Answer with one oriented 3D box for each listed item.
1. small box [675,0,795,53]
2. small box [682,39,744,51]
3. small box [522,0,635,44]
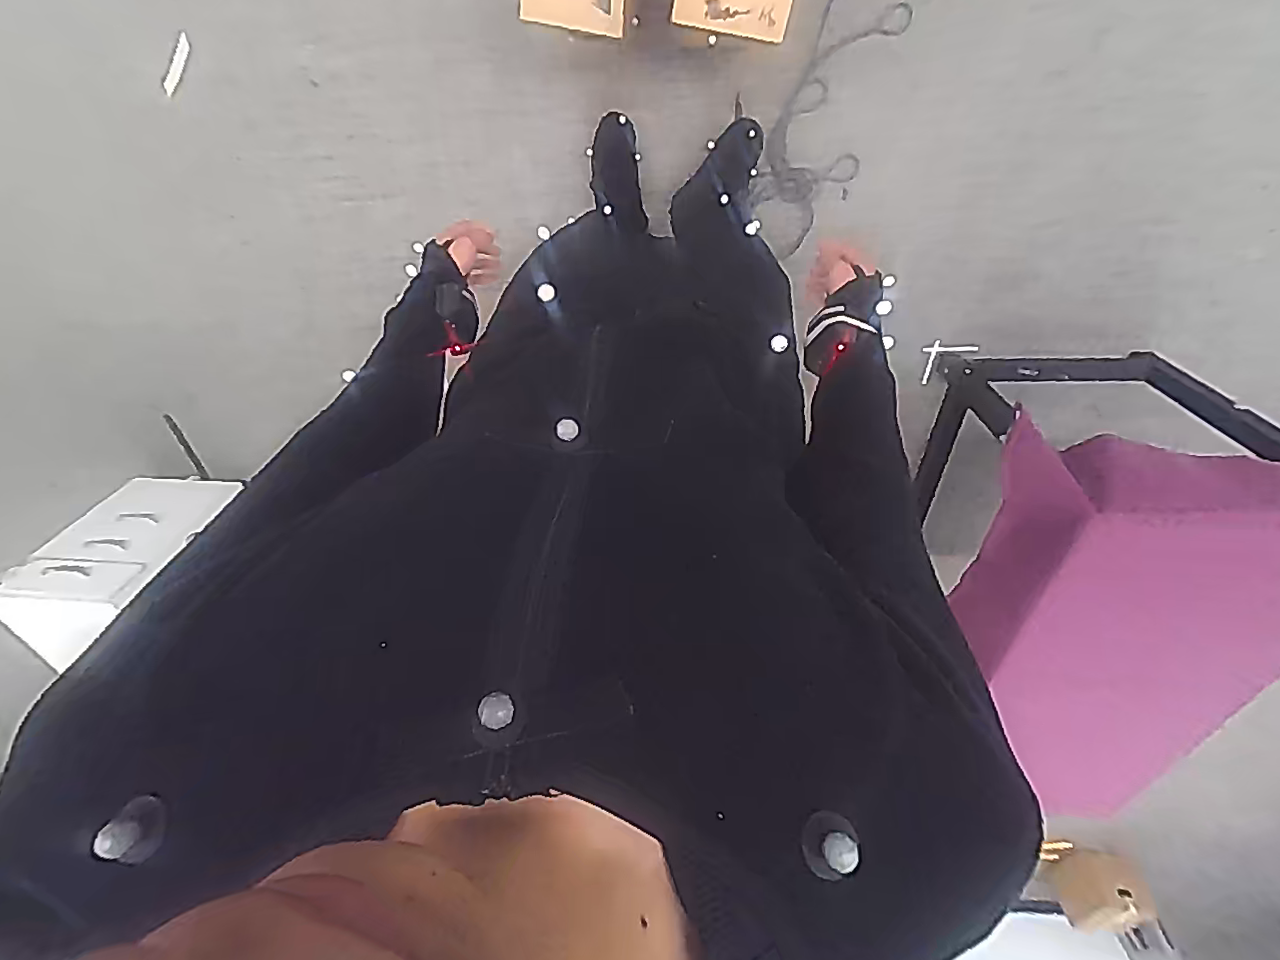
[{"bbox_3d":[0.145,-0.756,0.793,0.168,0.176,0.179,9,126,-3],"label":"small box"},{"bbox_3d":[0.166,-0.953,1.053,0.168,0.176,0.179,2,127,3],"label":"small box"},{"bbox_3d":[-0.095,-0.867,0.926,0.179,0.176,0.168,9,126,-2],"label":"small box"}]
